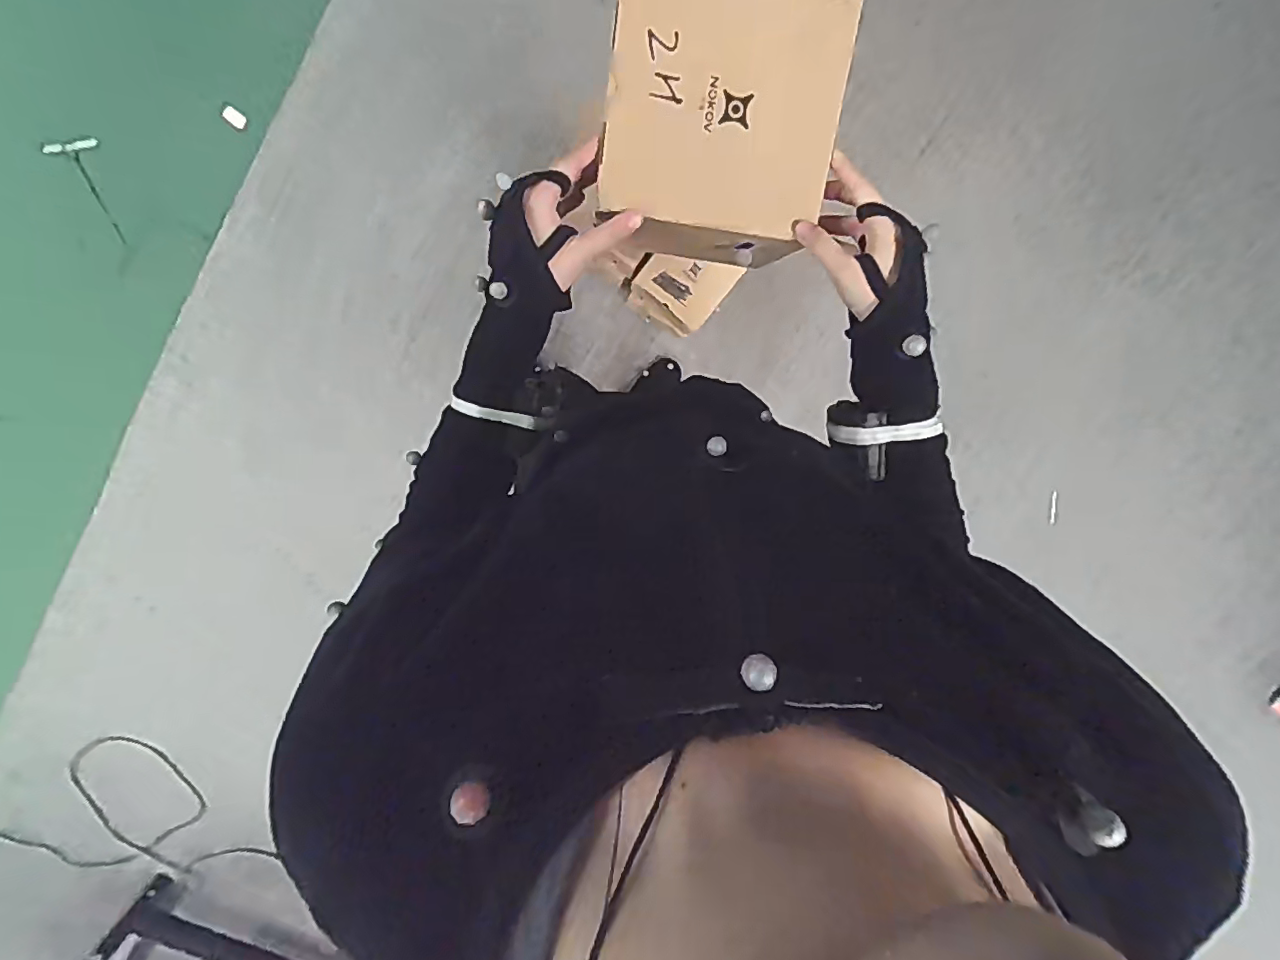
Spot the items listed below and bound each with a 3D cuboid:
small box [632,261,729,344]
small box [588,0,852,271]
[{"bbox_3d":[0.089,-0.454,1.326,0.168,0.176,0.179,33,101,-10],"label":"small box"},{"bbox_3d":[0.053,-0.289,0.478,0.179,0.176,0.168,7,104,-4],"label":"small box"}]
